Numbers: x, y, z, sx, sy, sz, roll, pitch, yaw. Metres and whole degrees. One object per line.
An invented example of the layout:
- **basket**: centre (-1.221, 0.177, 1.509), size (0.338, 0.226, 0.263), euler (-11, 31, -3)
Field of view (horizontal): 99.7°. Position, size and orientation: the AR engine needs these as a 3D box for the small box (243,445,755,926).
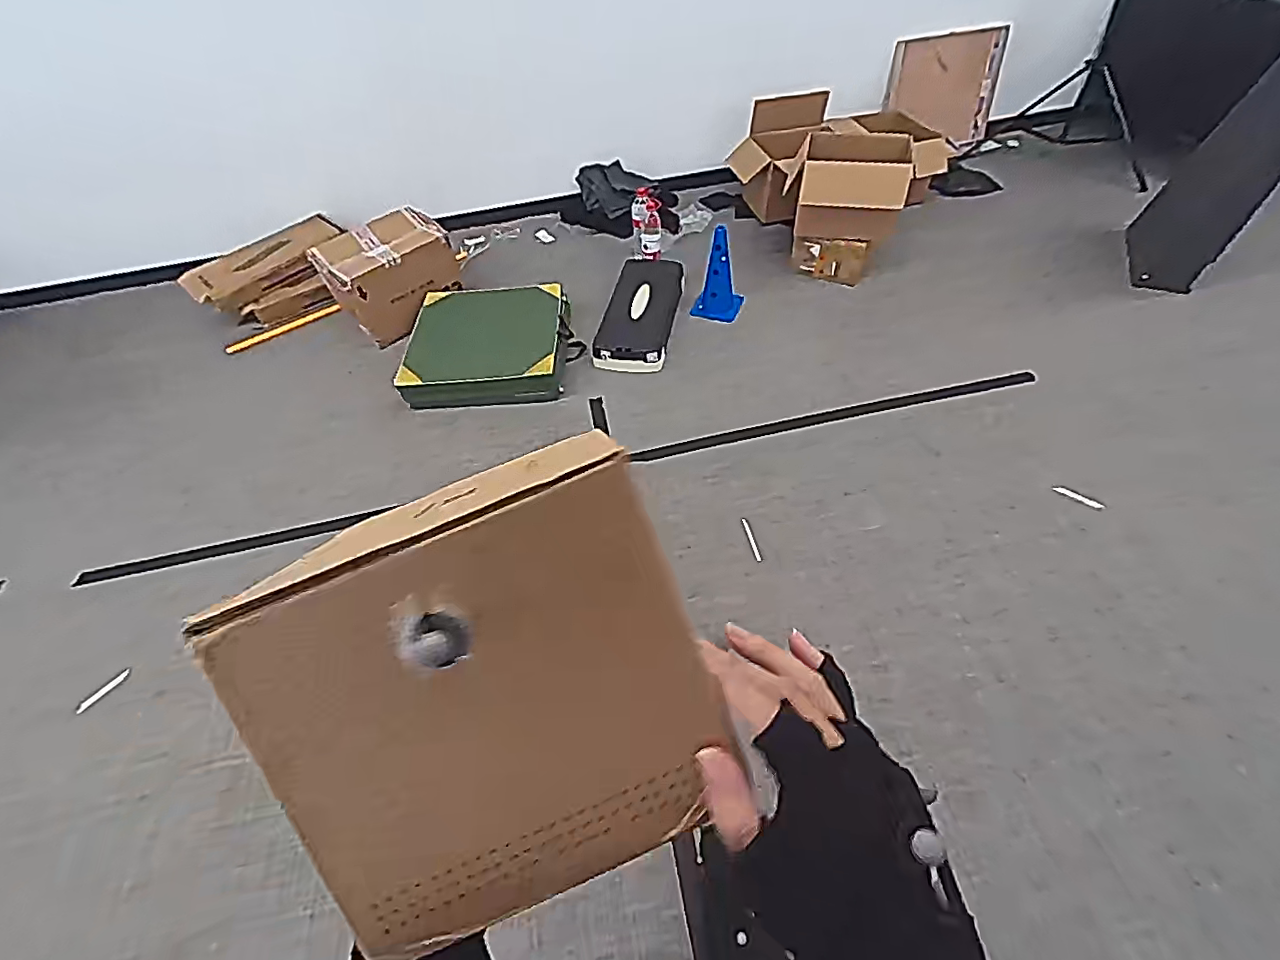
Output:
- **small box**: centre (-0.061, 0.092, 0.310), size (0.179, 0.176, 0.168), euler (-22, 11, -6)
